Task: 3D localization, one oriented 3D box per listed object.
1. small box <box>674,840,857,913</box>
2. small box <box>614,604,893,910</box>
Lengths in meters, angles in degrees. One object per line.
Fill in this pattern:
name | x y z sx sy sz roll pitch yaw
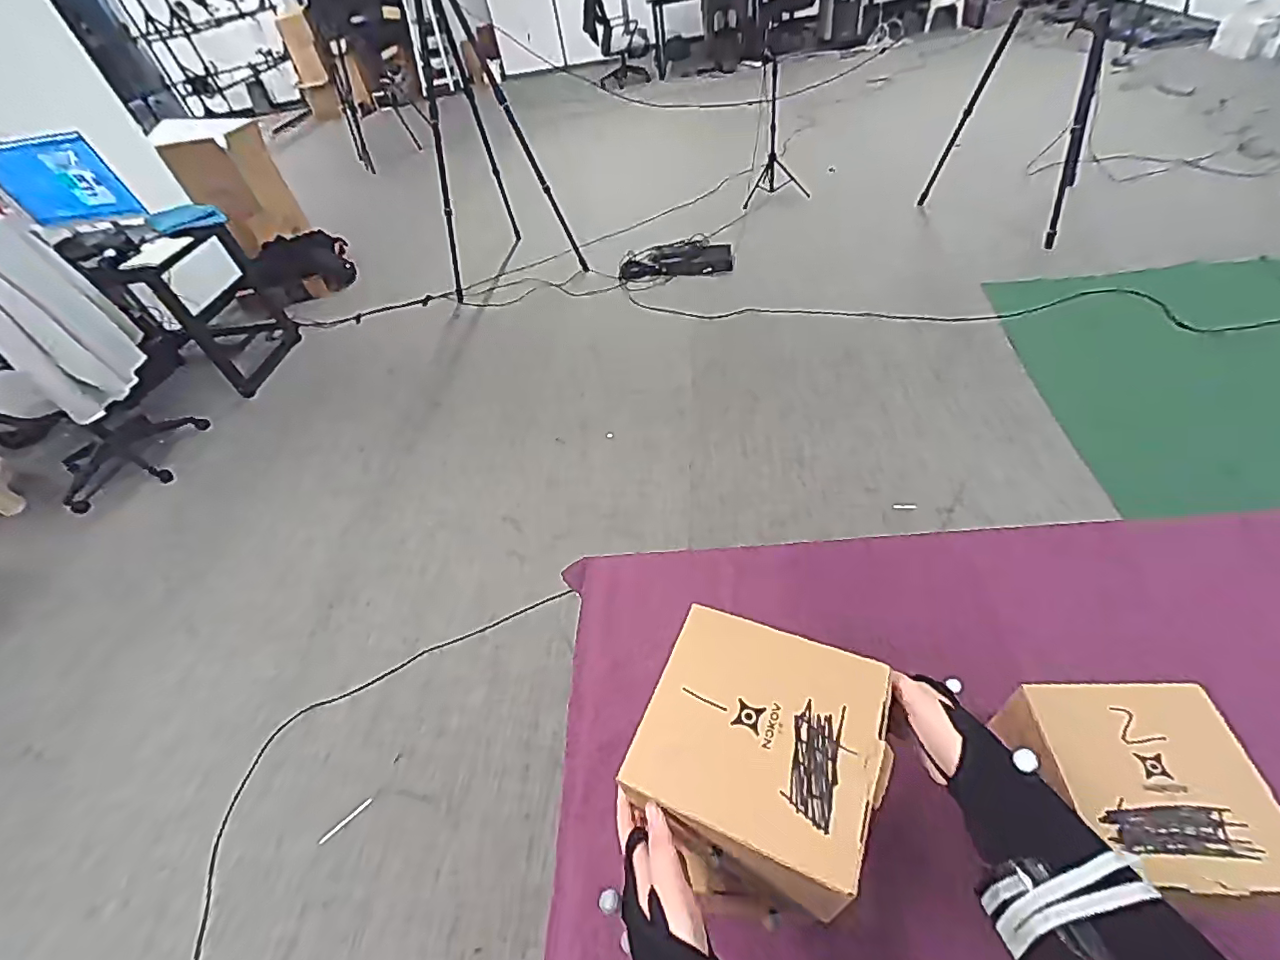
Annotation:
small box | 0.130 0.360 0.598 0.168 0.176 0.179 -2 48 8
small box | 0.103 0.246 0.482 0.179 0.176 0.168 15 52 24
